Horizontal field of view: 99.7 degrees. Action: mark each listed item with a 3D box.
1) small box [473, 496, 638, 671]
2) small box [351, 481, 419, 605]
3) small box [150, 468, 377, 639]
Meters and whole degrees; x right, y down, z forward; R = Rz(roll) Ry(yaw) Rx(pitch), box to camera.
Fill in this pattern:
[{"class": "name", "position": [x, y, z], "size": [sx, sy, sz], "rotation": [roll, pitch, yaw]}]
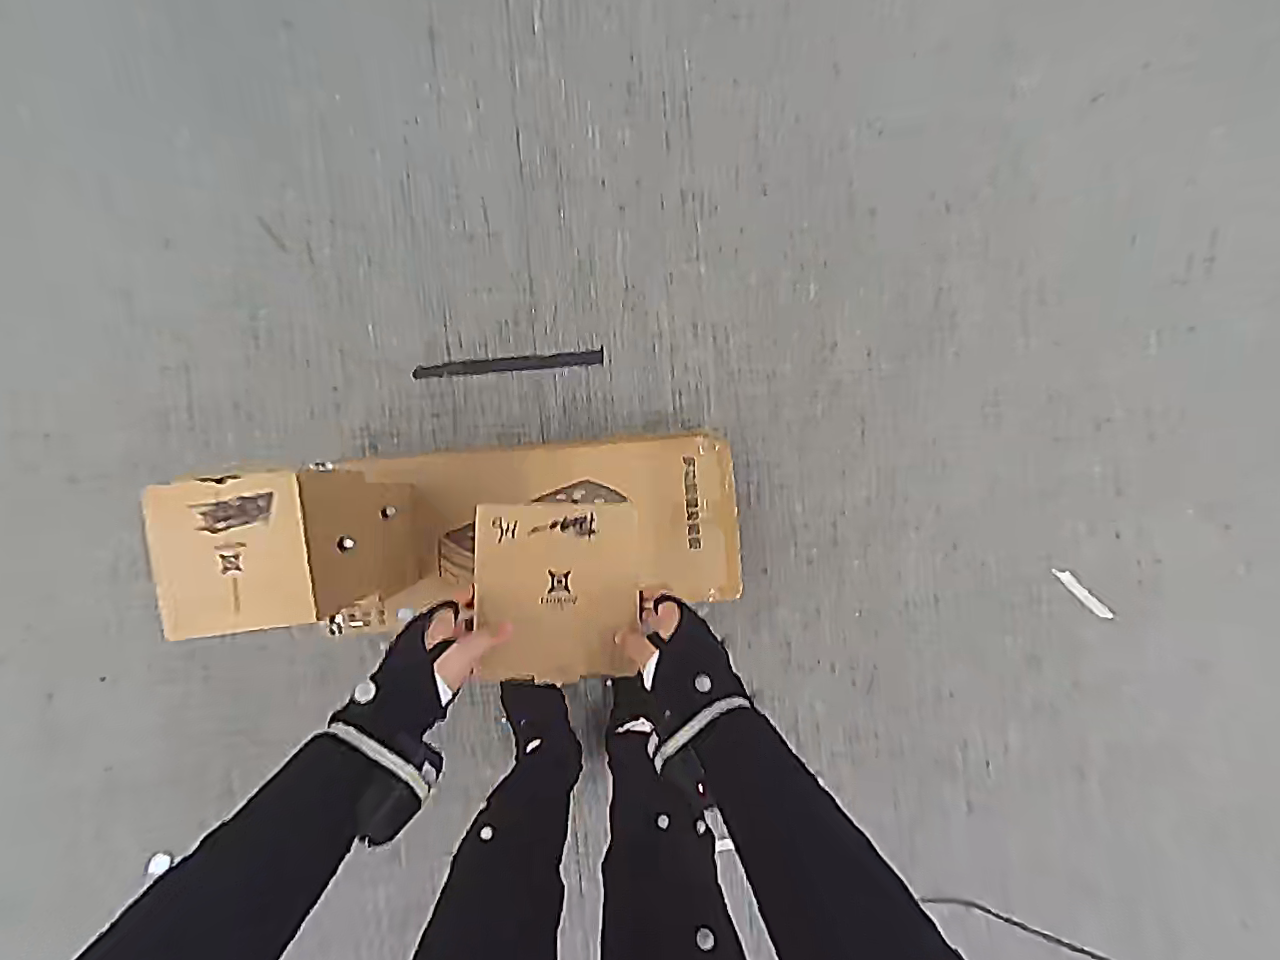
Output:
[{"class": "small box", "position": [-0.095, 0.109, 0.632], "size": [0.168, 0.176, 0.179], "rotation": [1, 88, -8]}, {"class": "small box", "position": [-0.460, 0.094, 0.843], "size": [0.168, 0.176, 0.179], "rotation": [-5, 91, -3]}, {"class": "small box", "position": [-0.453, 0.081, 0.679], "size": [0.168, 0.176, 0.179], "rotation": [-7, 92, -4]}]
